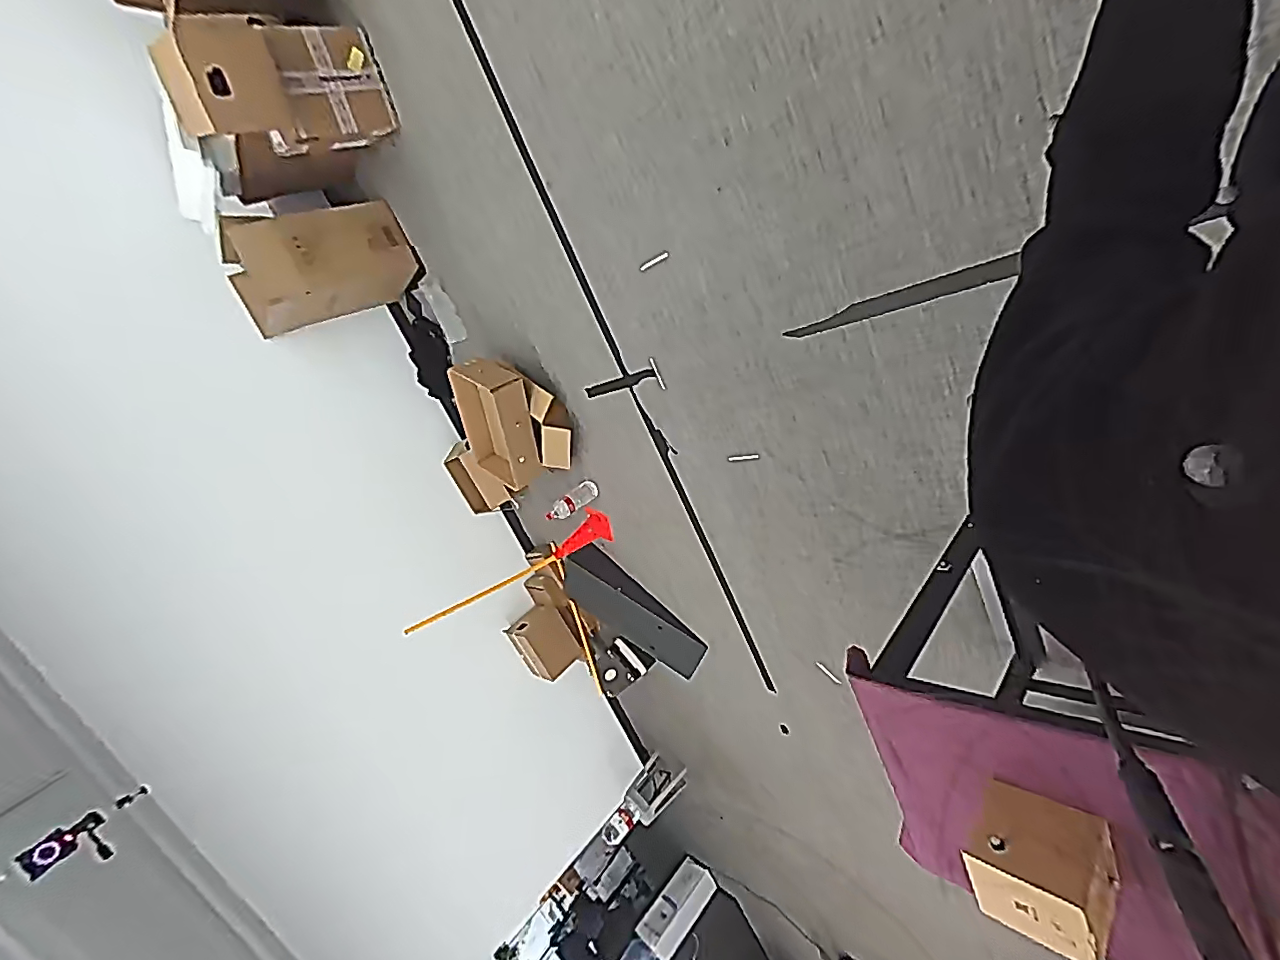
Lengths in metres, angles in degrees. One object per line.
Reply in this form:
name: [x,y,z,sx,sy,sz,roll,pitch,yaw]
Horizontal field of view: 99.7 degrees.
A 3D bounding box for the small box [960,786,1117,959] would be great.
small box: [0.698,0.680,0.946,0.179,0.176,0.168,-2,118,51]
